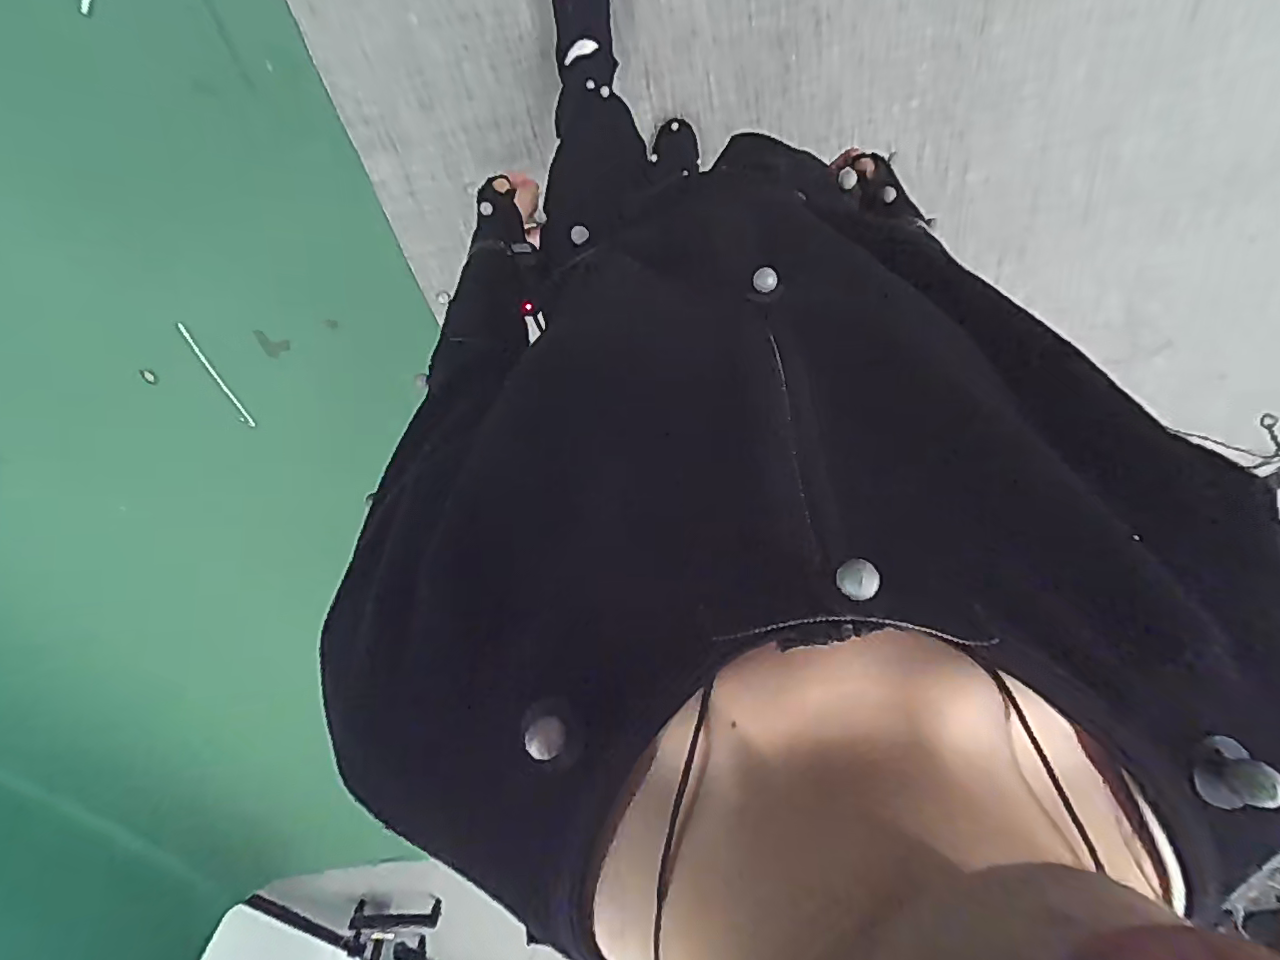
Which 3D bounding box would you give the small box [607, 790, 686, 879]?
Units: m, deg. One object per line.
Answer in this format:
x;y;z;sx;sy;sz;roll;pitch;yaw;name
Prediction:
0.021;0.953;1.434;0.179;0.176;0.168;-14;126;8;small box
